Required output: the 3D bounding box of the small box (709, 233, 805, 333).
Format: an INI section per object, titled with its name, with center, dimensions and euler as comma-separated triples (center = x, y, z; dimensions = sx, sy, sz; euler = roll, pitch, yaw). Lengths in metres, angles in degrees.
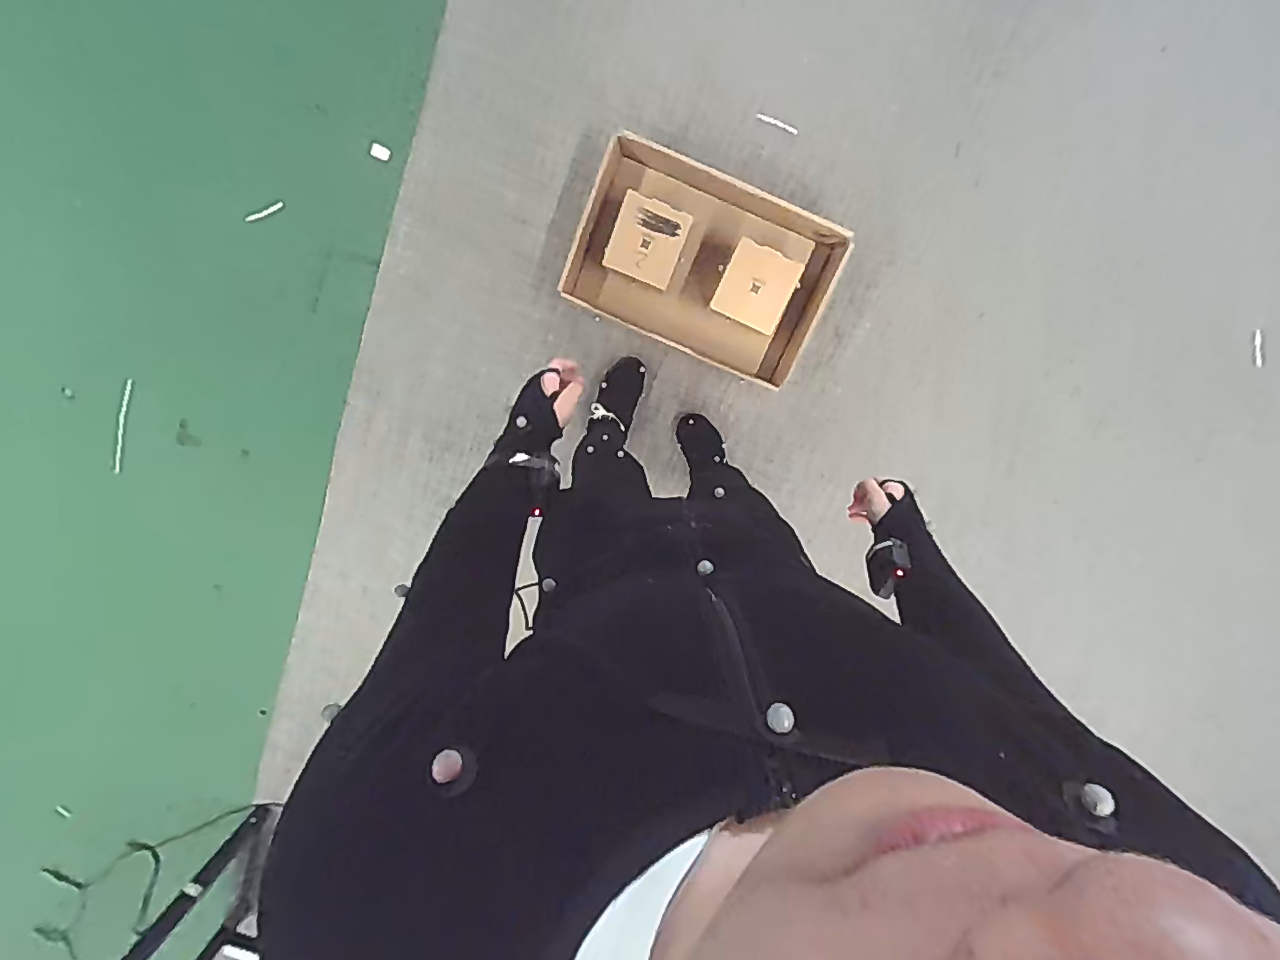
[small box]
center = 0.282, -0.479, 1.346
dimensions = 0.168, 0.176, 0.179
euler = 25, 104, -2
